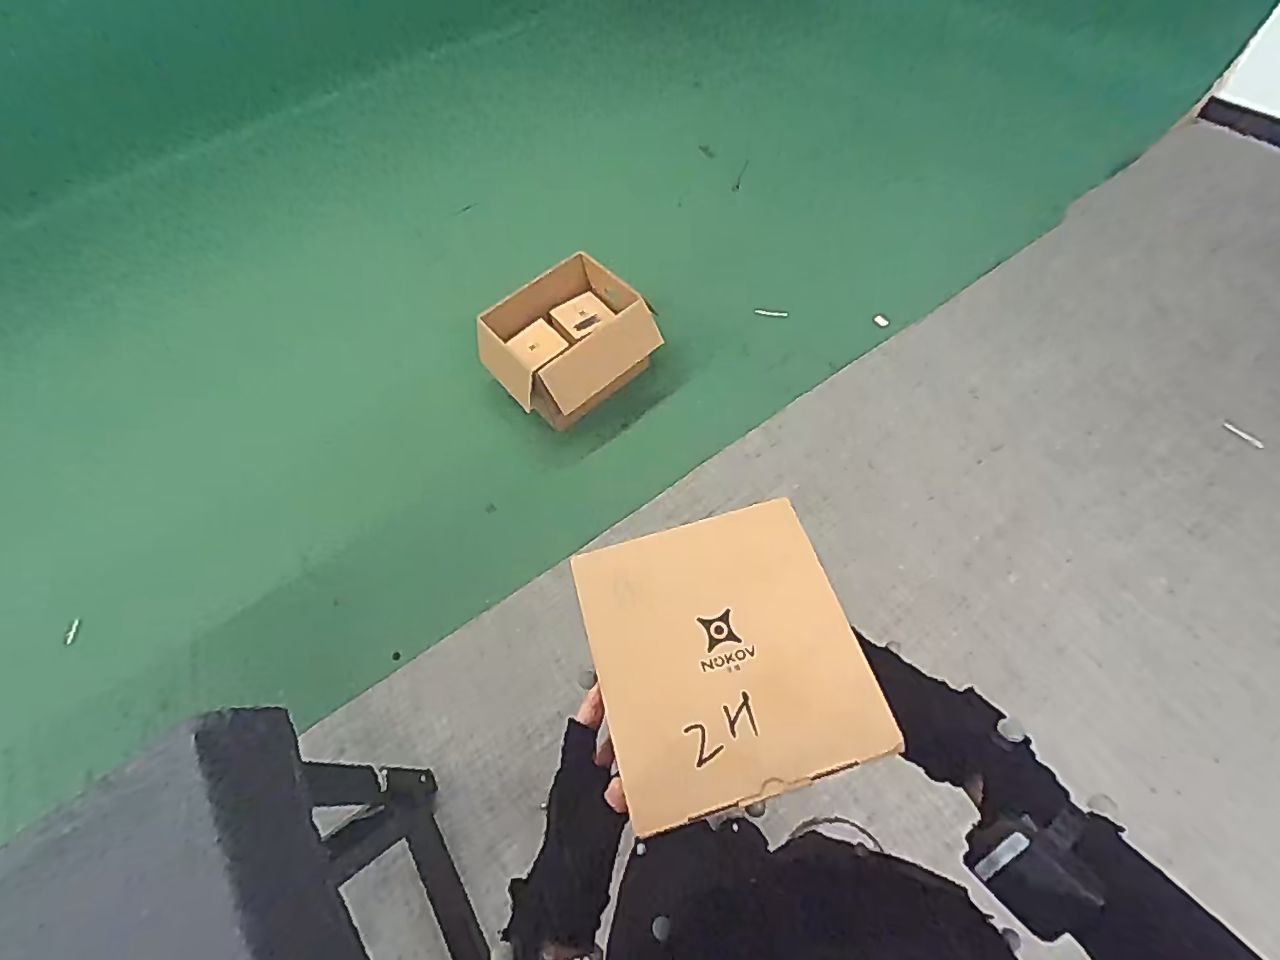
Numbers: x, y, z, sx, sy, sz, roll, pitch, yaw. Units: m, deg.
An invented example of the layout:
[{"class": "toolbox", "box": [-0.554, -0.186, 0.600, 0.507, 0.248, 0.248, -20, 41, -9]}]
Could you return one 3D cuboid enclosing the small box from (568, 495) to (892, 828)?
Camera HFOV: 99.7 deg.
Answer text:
[{"class": "small box", "box": [0.051, 0.140, 0.418, 0.168, 0.176, 0.179, -15, 63, -5]}]
